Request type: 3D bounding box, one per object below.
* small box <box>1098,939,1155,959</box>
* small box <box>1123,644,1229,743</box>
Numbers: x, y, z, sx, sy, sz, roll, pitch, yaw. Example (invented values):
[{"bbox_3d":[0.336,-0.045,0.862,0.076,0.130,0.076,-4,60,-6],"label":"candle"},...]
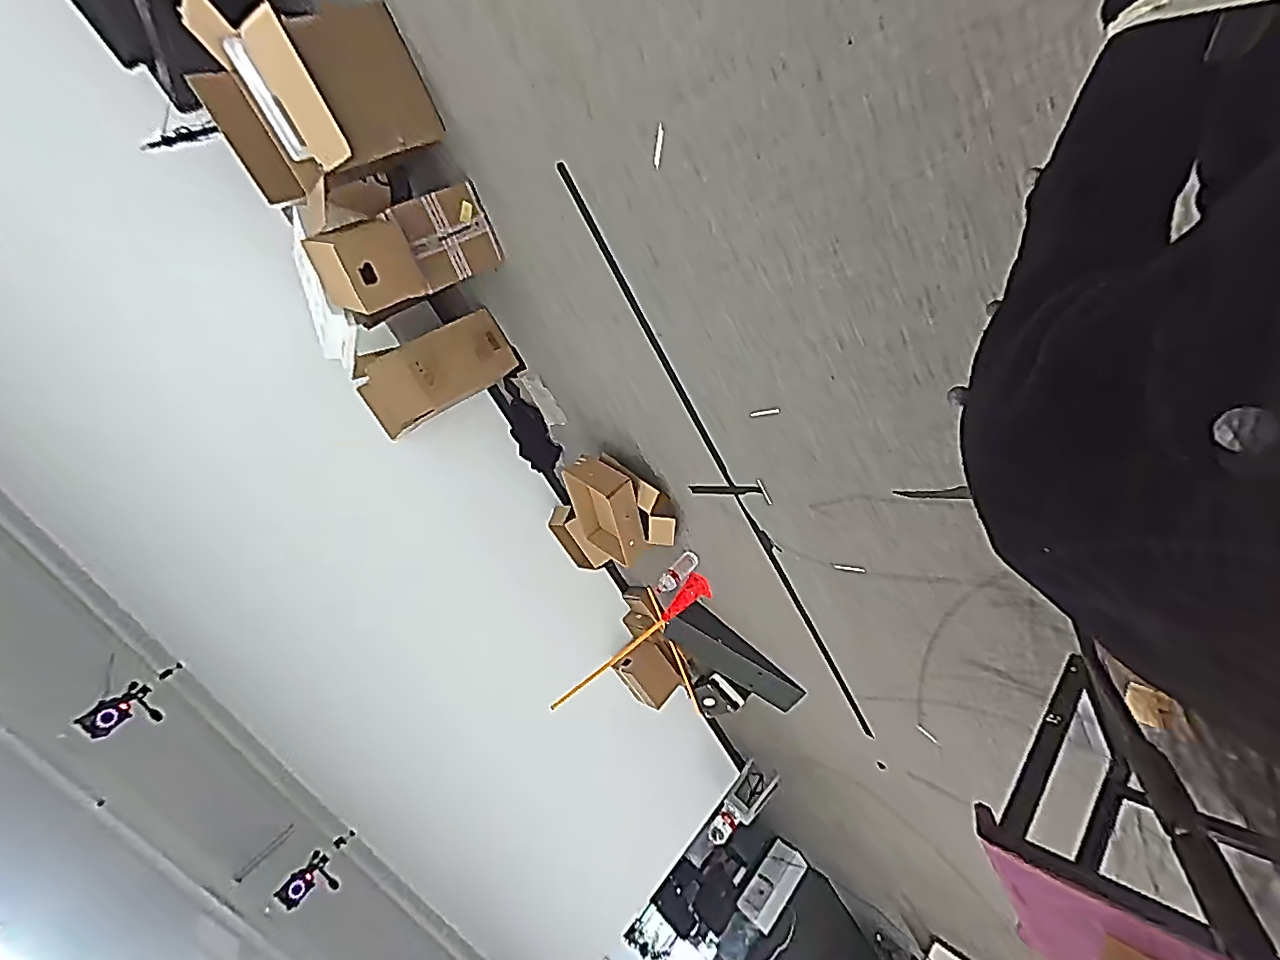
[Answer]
[{"bbox_3d":[1.178,1.223,1.251,0.179,0.176,0.168,0,126,56],"label":"small box"},{"bbox_3d":[1.528,0.598,1.545,0.179,0.176,0.168,17,138,45],"label":"small box"}]
